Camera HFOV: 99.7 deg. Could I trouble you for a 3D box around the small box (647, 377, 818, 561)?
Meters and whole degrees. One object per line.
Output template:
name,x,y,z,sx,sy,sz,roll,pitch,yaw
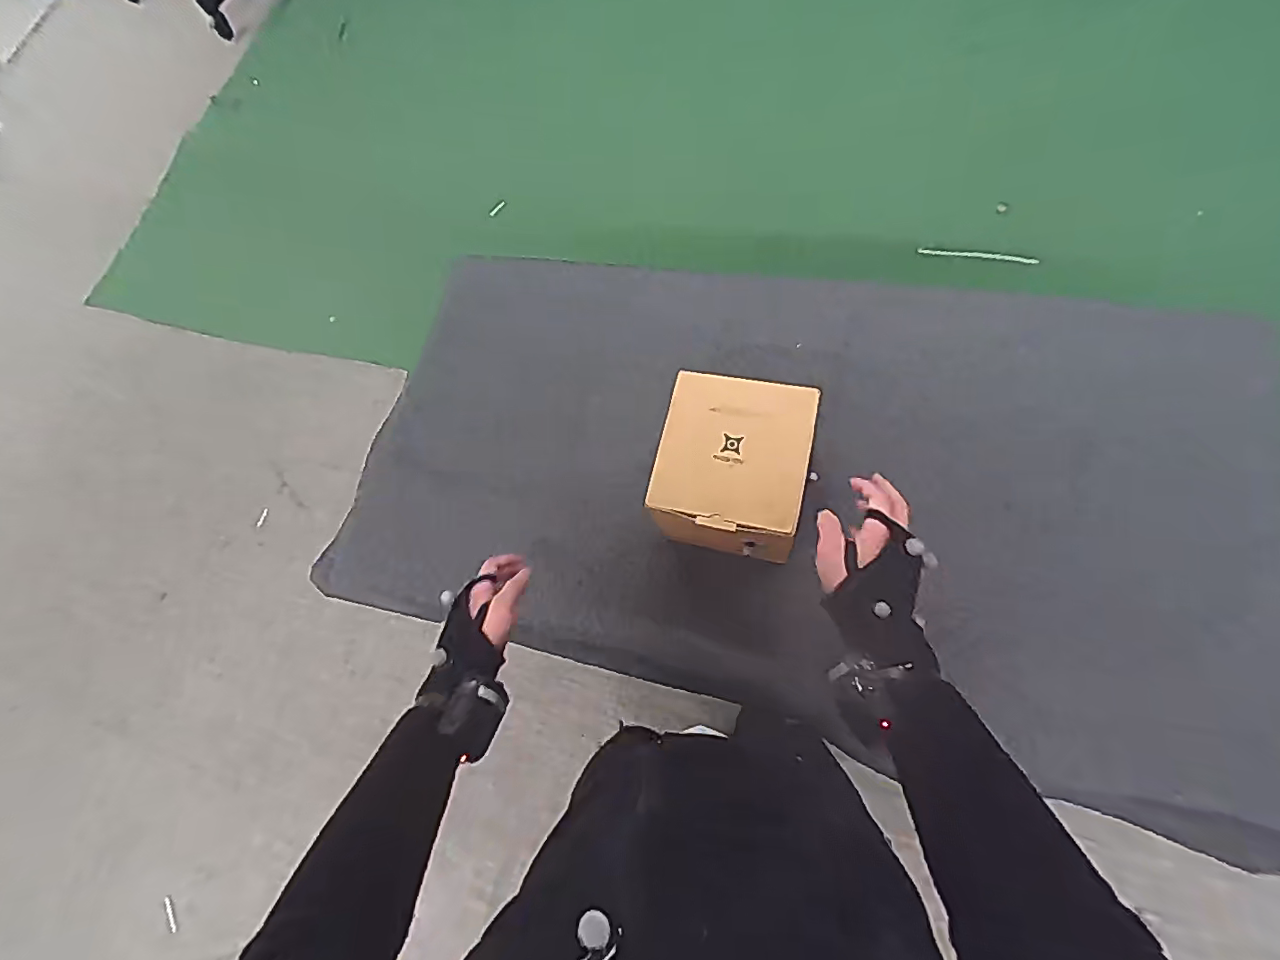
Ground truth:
small box,0.119,-0.005,0.686,0.168,0.176,0.179,11,74,13
